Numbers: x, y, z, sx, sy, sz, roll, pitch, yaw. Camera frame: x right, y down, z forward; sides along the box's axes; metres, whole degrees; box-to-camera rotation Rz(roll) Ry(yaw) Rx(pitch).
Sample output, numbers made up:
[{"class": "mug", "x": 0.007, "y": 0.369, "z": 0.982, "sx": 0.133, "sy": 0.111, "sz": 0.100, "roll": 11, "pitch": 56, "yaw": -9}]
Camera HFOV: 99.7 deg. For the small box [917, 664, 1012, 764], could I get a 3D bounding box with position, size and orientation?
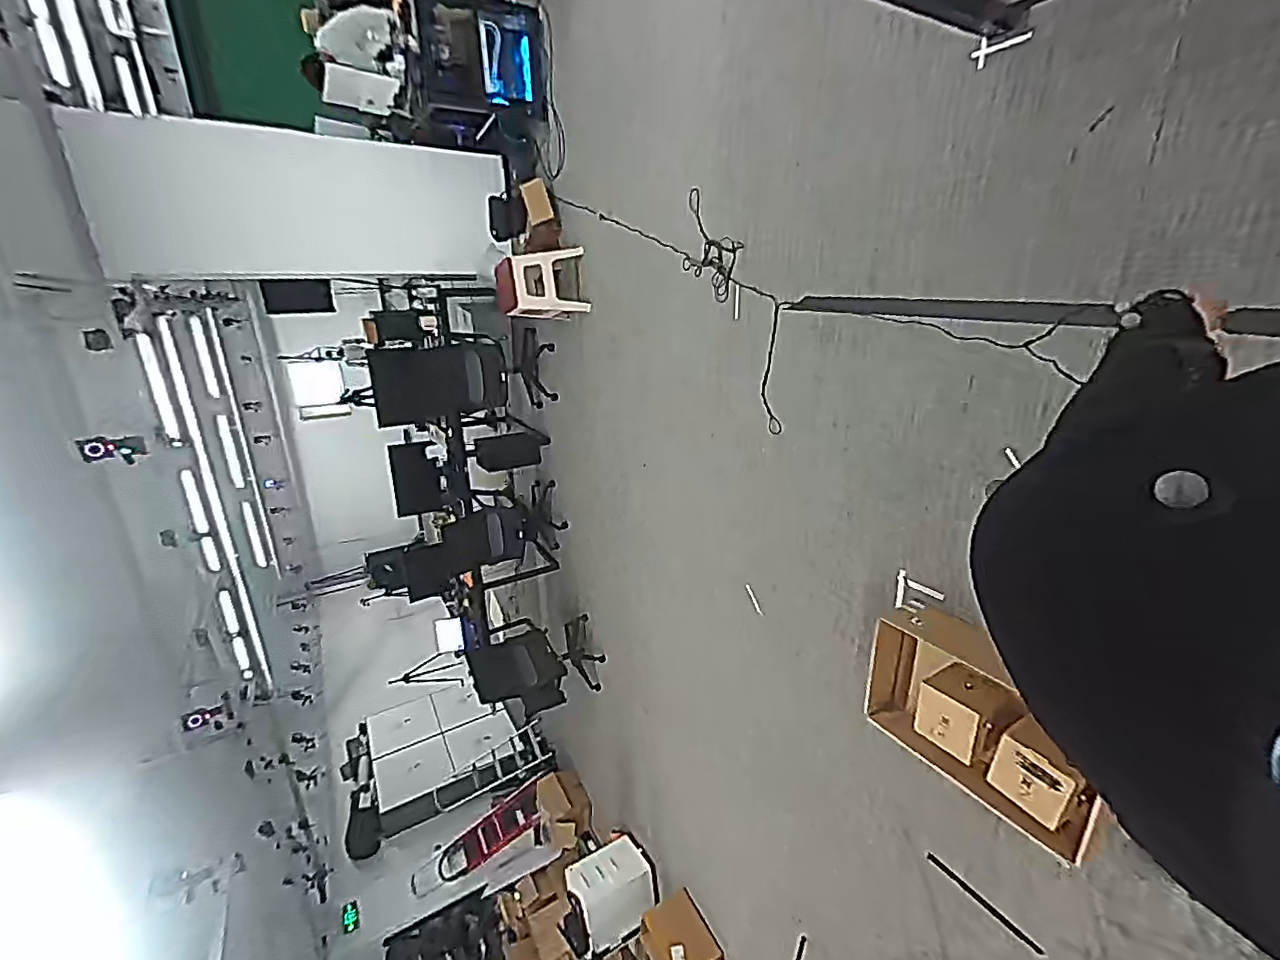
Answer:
[{"class": "small box", "x": 0.934, "y": 0.662, "z": 1.555, "sx": 0.168, "sy": 0.176, "sz": 0.179, "roll": 26, "pitch": 123, "yaw": 55}]
